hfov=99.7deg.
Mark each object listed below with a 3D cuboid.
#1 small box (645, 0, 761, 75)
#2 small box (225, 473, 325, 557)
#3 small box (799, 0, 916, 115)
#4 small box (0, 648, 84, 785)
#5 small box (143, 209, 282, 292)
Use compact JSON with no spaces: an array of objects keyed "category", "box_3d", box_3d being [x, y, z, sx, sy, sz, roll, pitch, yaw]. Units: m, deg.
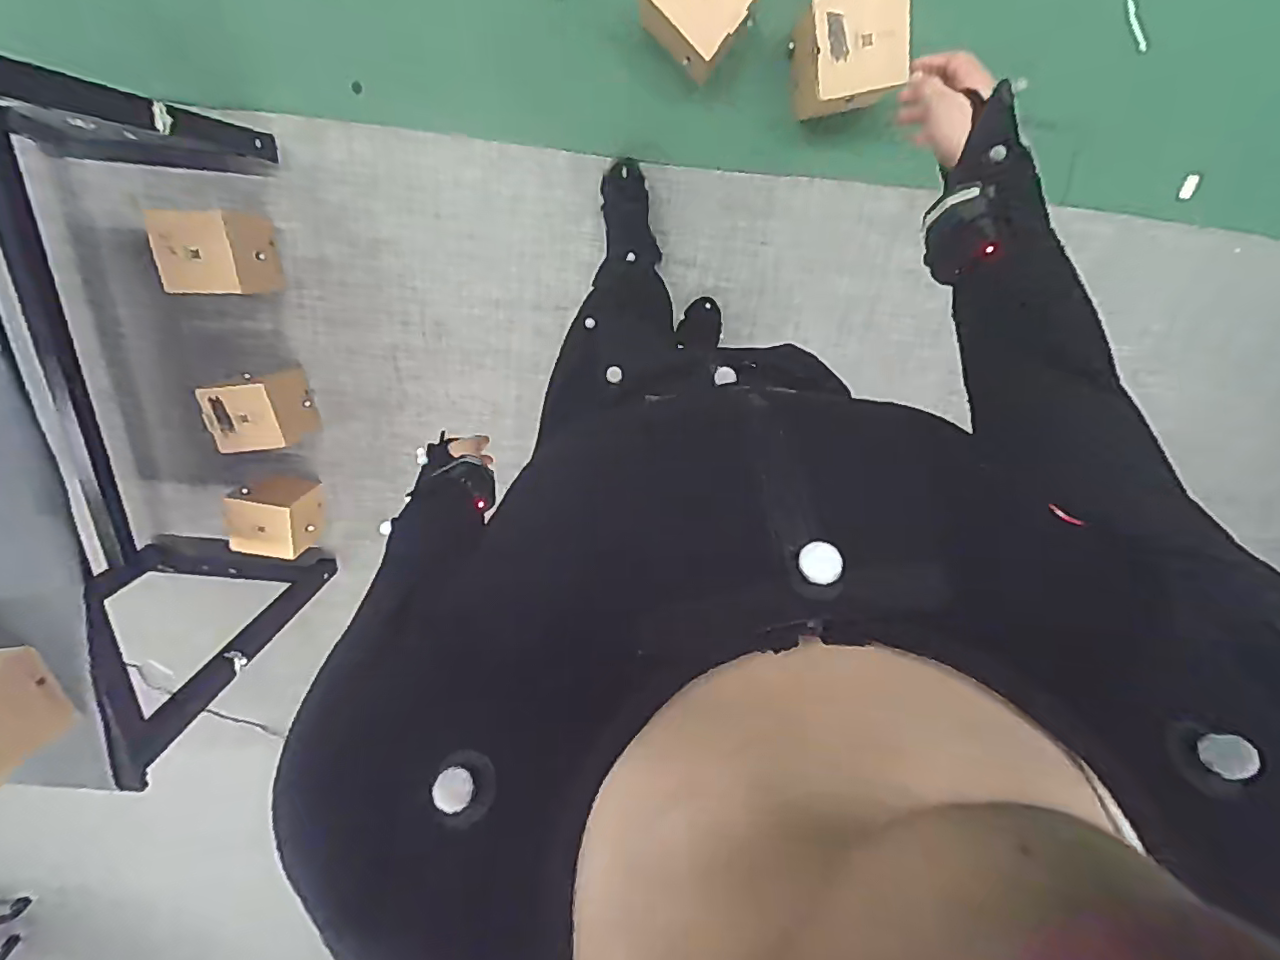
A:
[{"category":"small box","box_3d":[0.125,-0.929,1.044,0.179,0.176,0.168,38,108,-13]},{"category":"small box","box_3d":[-1.010,0.093,1.518,0.179,0.176,0.168,9,114,-2]},{"category":"small box","box_3d":[0.421,-0.850,1.072,0.179,0.176,0.168,-9,113,4]},{"category":"small box","box_3d":[-1.063,0.386,0.849,0.179,0.176,0.168,-6,113,4]},{"category":"small box","box_3d":[-0.963,-0.527,1.243,0.179,0.176,0.168,1,113,1]}]
